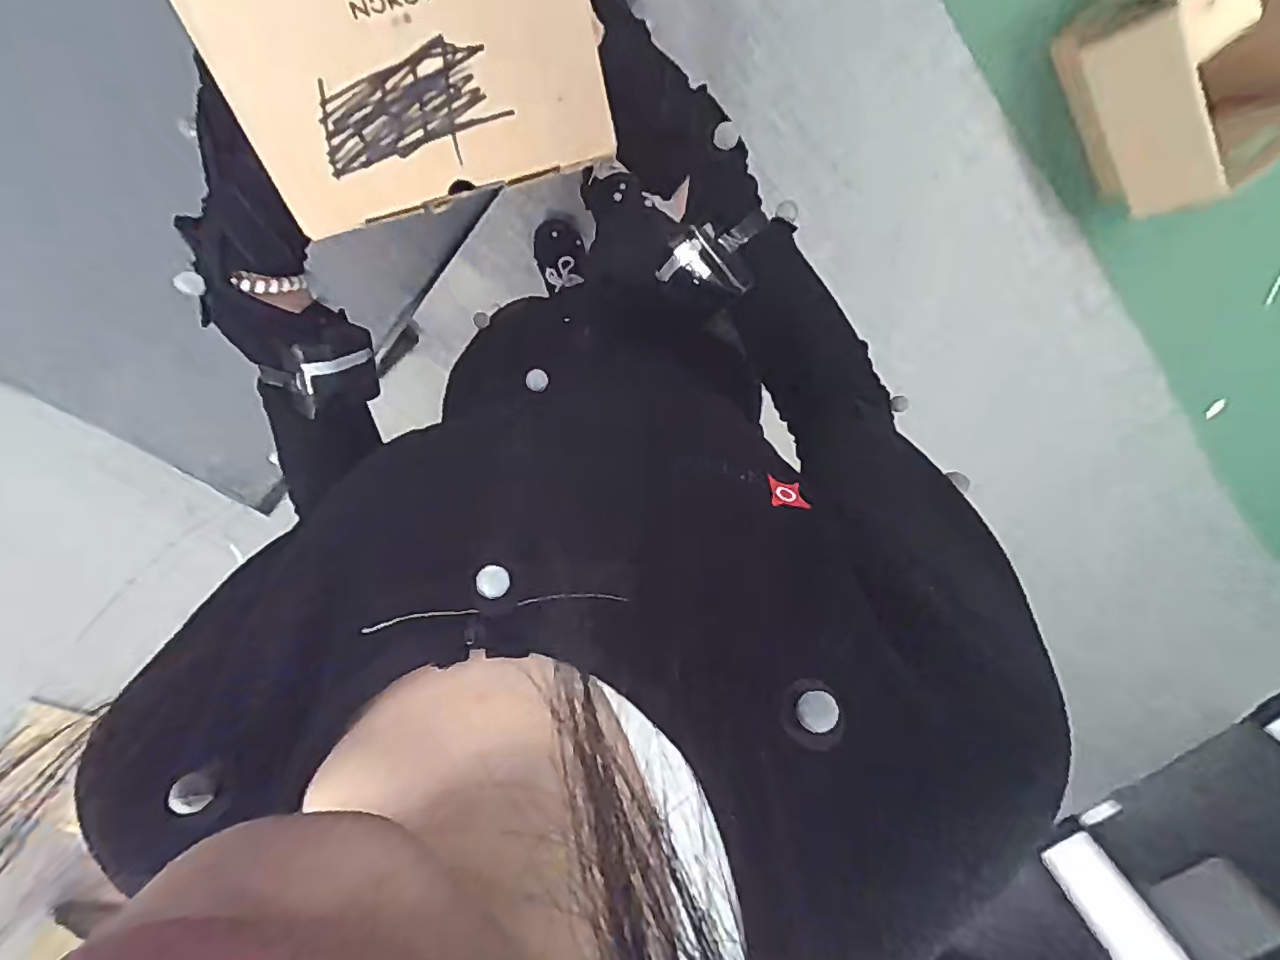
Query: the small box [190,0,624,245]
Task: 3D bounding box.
[{"bbox_3d":[-0.115,-0.253,0.289,0.168,0.176,0.179,-16,127,-3],"label":"small box"}]
